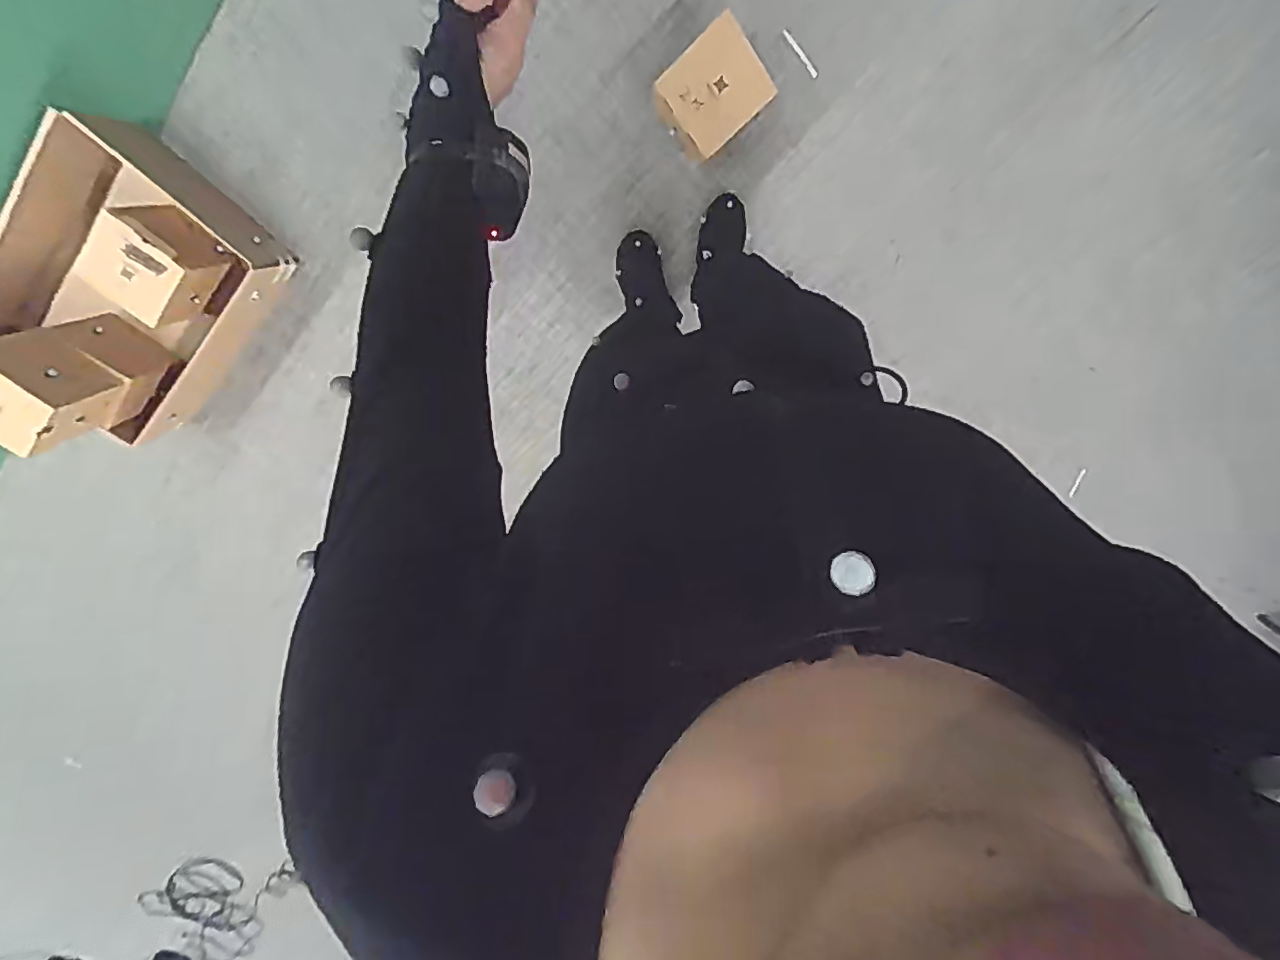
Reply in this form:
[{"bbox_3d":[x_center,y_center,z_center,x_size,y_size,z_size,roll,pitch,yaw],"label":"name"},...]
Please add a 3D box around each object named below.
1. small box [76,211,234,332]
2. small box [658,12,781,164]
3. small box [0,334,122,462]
[{"bbox_3d":[-1.032,-0.456,1.169,0.179,0.176,0.168,-40,112,20],"label":"small box"},{"bbox_3d":[0.148,-0.768,1.083,0.179,0.176,0.168,-37,112,17],"label":"small box"},{"bbox_3d":[-1.261,-0.176,1.130,0.168,0.176,0.179,-39,113,18],"label":"small box"}]
